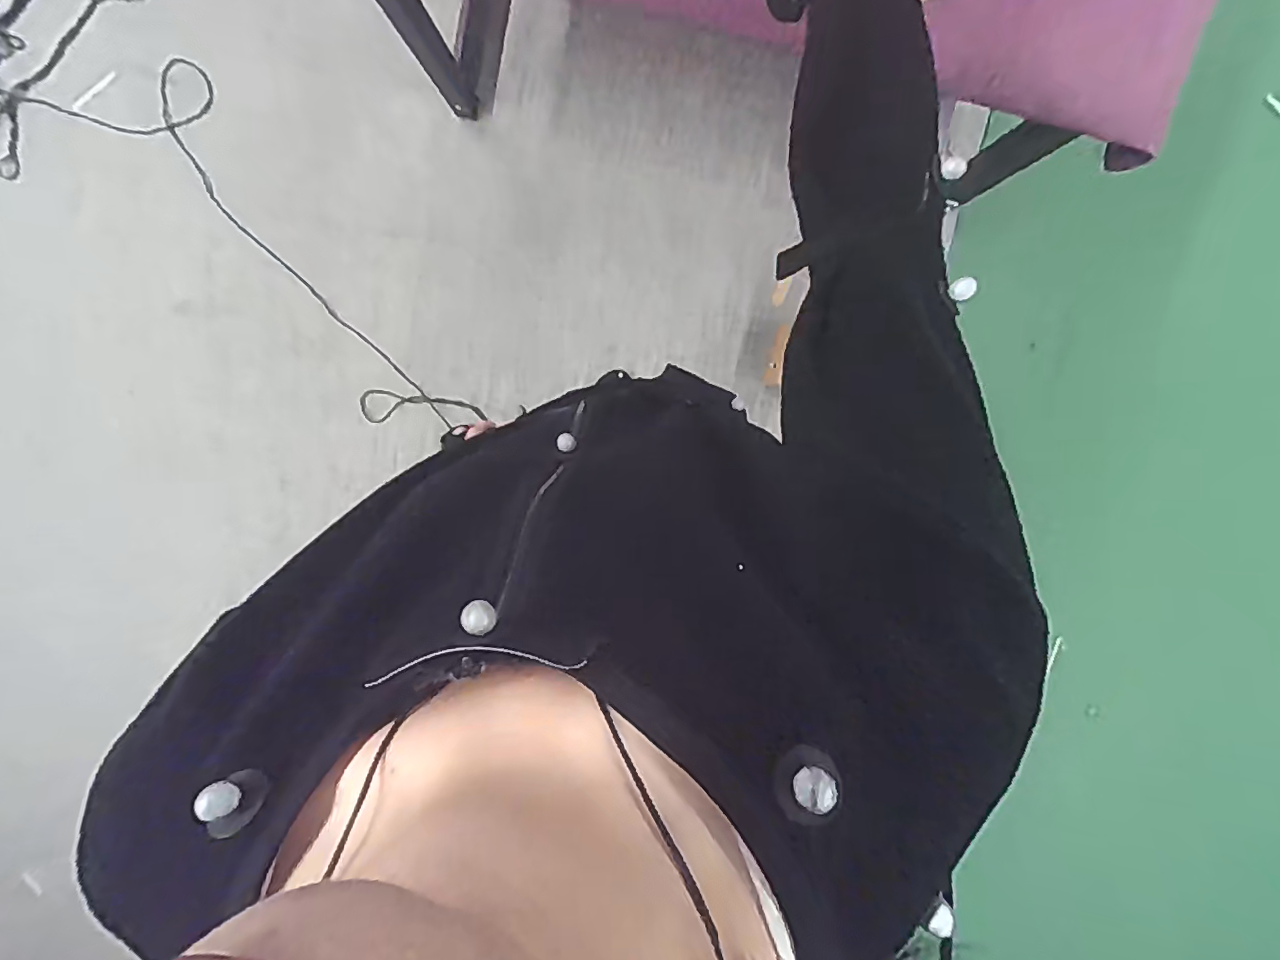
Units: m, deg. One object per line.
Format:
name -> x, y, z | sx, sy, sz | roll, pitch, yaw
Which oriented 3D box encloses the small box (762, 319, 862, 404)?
small box -> 0.428, -0.298, 1.382 | 0.179, 0.176, 0.168 | 16, 100, -3
